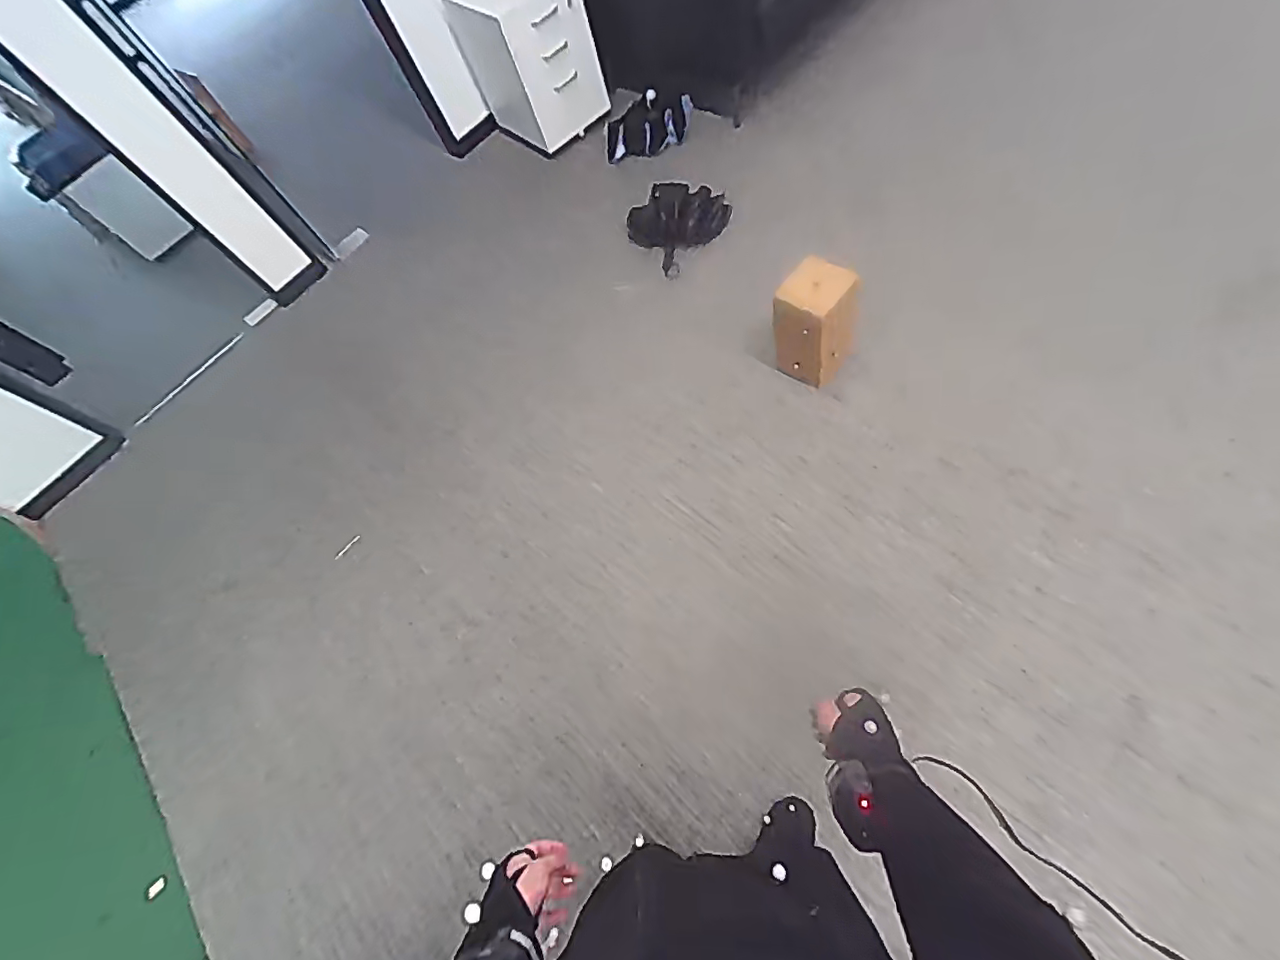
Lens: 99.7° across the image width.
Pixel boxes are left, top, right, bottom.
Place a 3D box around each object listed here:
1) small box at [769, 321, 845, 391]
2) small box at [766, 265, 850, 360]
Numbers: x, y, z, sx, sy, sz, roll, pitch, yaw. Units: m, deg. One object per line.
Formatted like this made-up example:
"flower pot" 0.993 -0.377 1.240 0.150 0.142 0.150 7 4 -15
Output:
"small box" 0.533 -0.415 1.727 0.168 0.176 0.179 32 76 27
"small box" 0.490 -0.486 1.588 0.168 0.176 0.179 35 75 27
